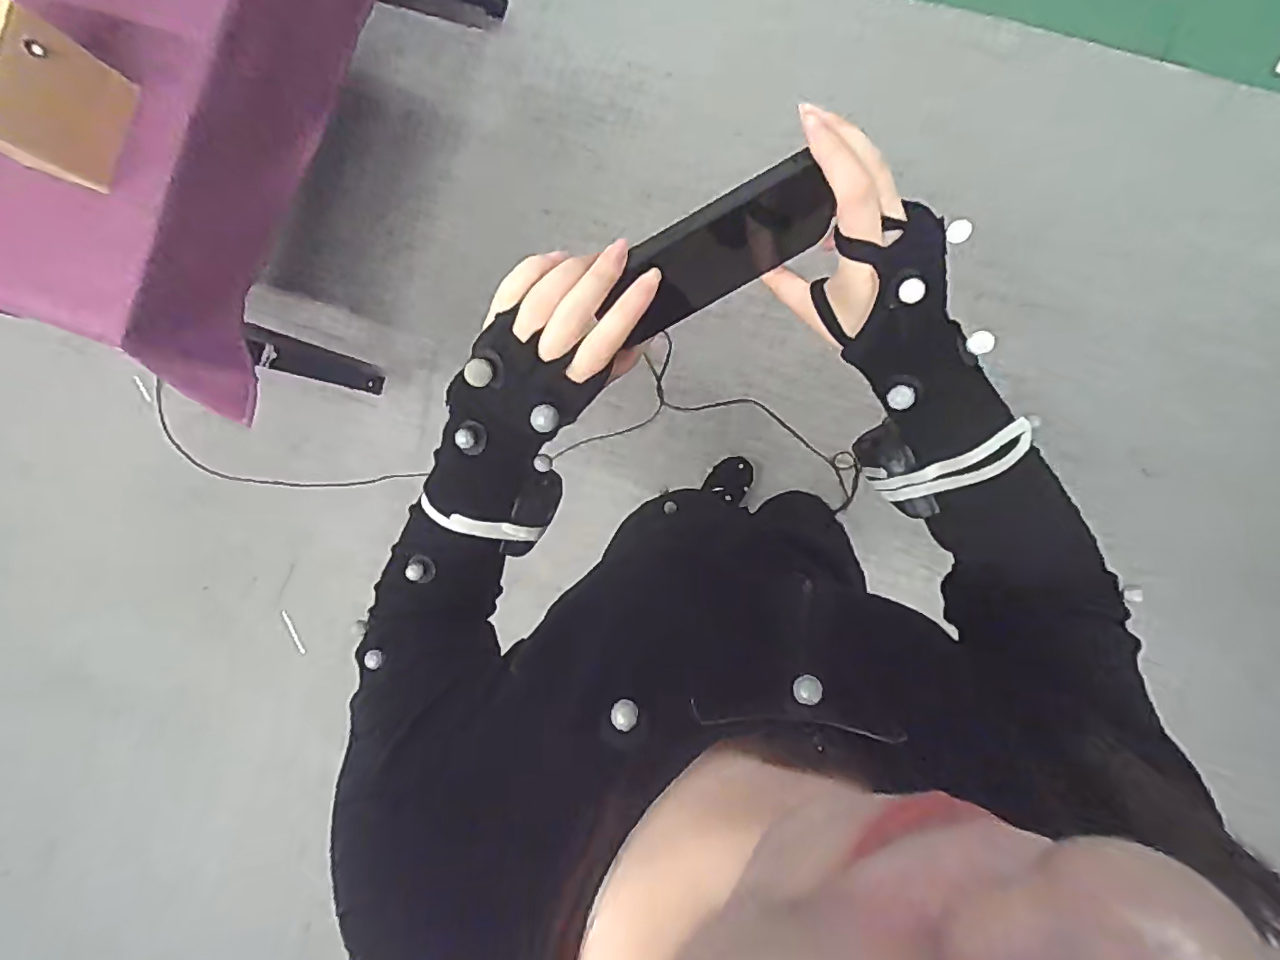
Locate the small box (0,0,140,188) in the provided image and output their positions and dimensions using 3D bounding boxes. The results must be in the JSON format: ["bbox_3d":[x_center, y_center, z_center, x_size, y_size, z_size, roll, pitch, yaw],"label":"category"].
[{"bbox_3d":[-0.888,-0.562,0.780,0.168,0.176,0.179,21,92,5],"label":"small box"}]
